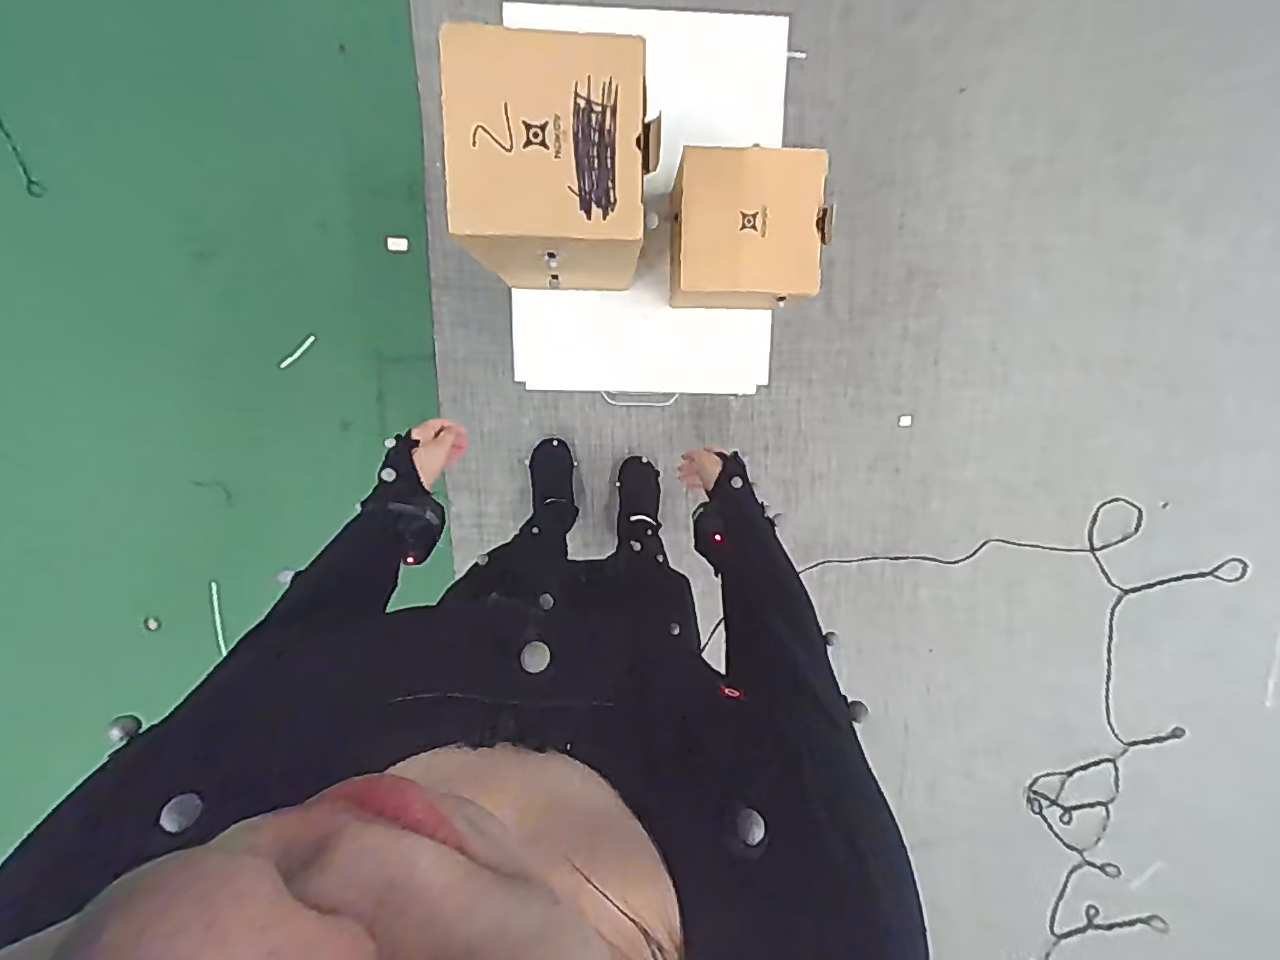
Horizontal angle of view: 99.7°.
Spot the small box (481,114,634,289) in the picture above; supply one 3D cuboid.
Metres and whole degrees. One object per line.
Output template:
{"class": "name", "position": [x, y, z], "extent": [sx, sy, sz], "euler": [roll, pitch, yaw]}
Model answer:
{"class": "small box", "position": [-0.099, -0.349, 0.709], "extent": [0.179, 0.176, 0.168], "euler": [0, 102, -4]}
